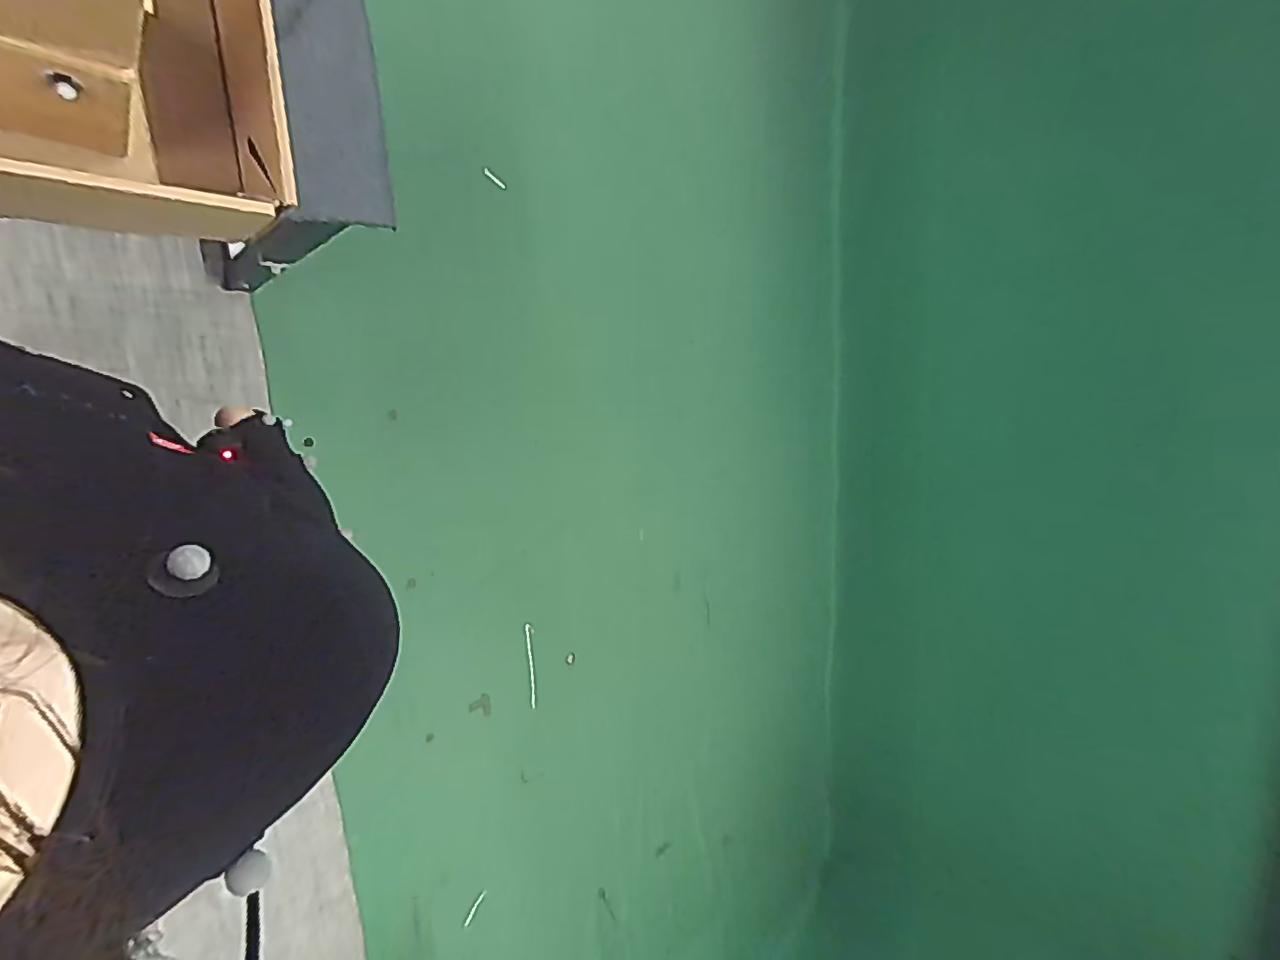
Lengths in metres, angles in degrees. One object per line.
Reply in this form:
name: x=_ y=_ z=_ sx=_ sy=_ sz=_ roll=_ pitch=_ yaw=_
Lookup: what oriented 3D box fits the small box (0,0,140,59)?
small box: x=-0.401 y=-0.378 z=0.294 sx=0.179 sy=0.176 sz=0.168 roll=-14 pitch=105 yaw=-45
